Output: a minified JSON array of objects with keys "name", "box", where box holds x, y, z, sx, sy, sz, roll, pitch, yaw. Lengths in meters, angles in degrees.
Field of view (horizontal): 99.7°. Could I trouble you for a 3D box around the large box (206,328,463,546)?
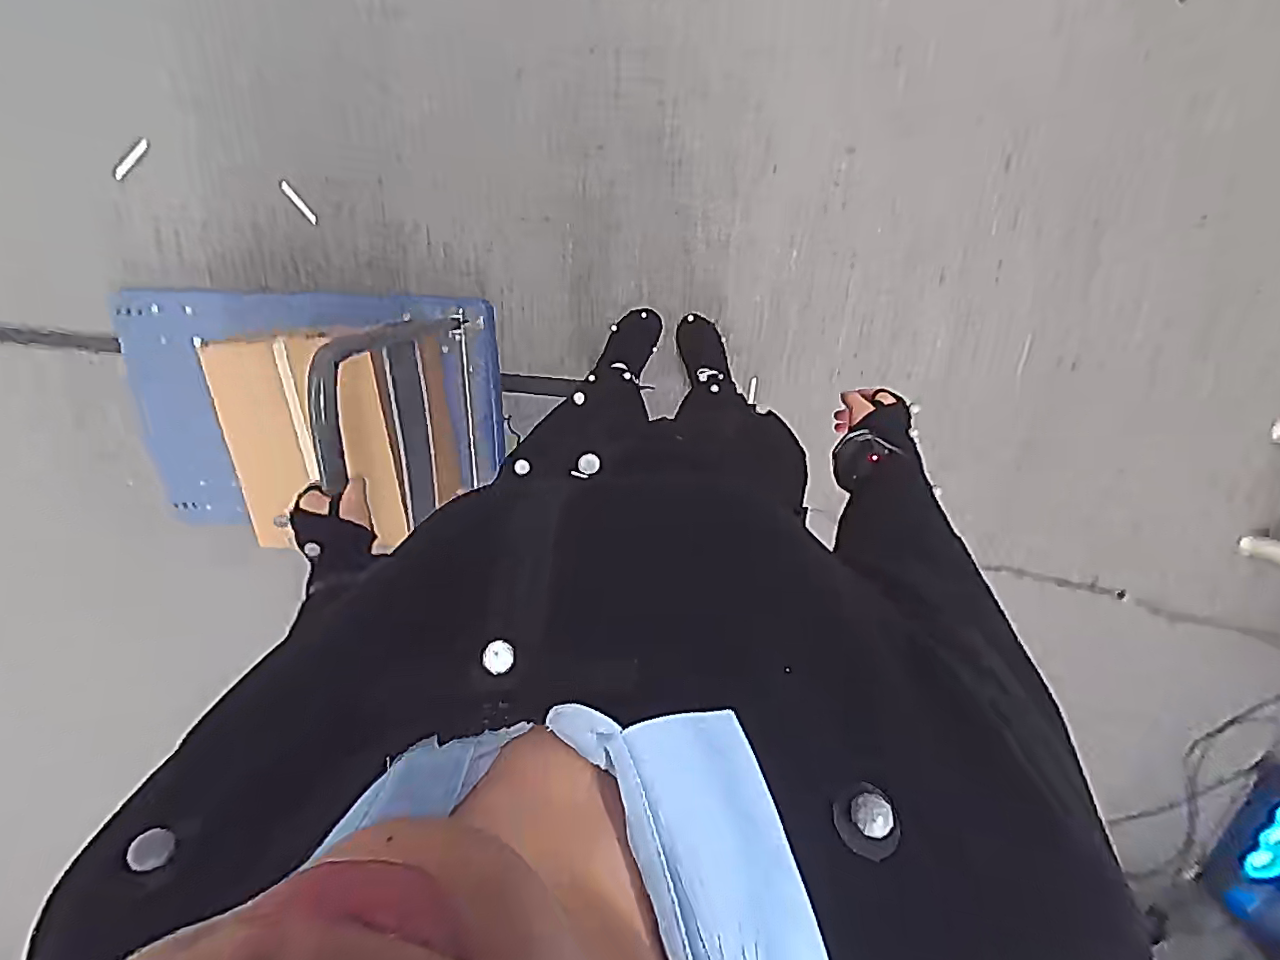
[{"name":"large box","box":[-0.607,-0.105,1.158,0.320,0.320,0.408,-2,109,2]}]
